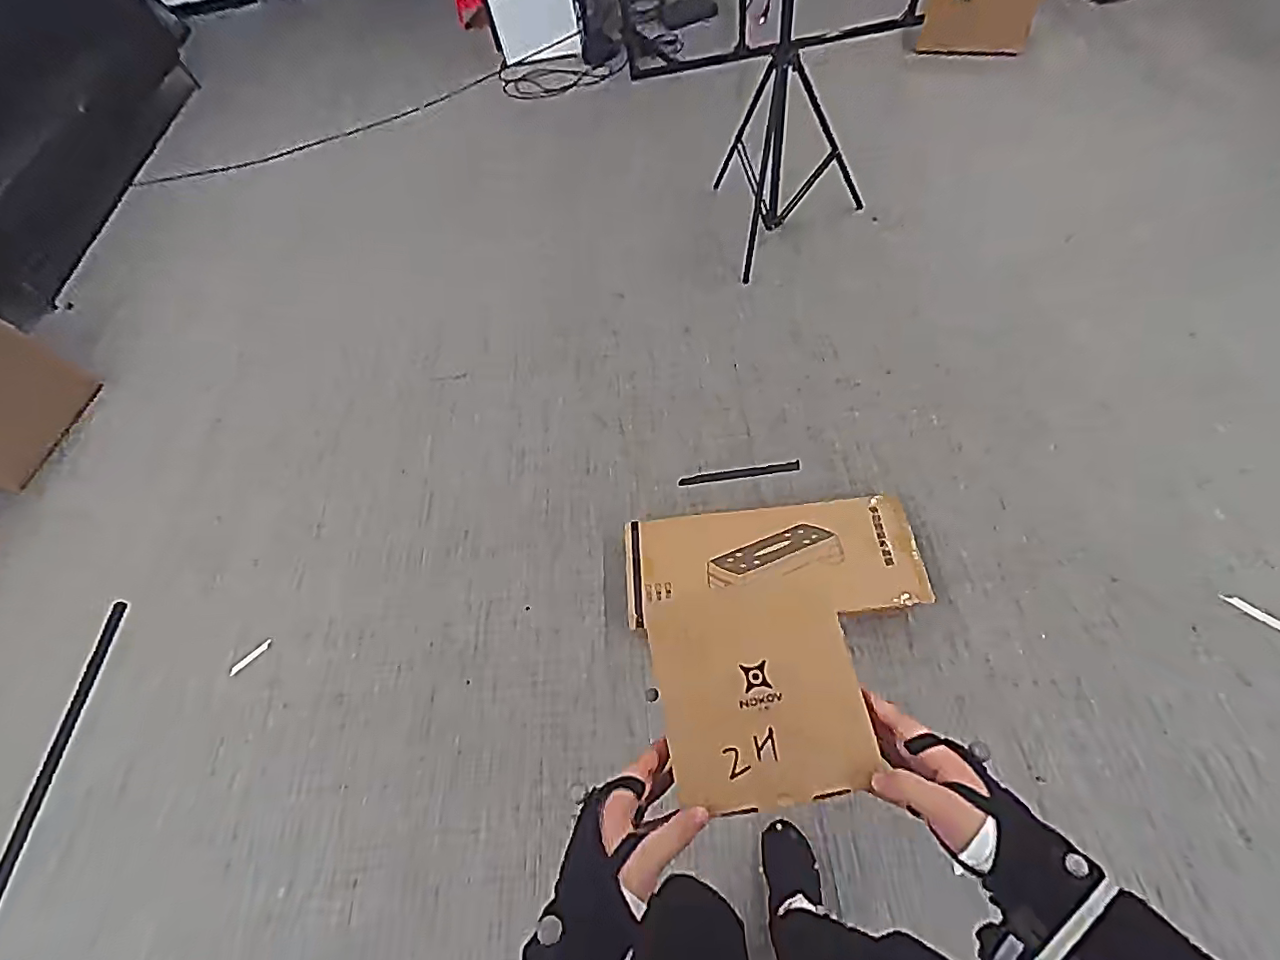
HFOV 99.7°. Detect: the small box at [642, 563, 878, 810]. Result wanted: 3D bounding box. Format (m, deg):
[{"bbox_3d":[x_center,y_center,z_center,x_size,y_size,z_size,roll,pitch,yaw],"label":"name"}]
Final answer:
[{"bbox_3d":[0.101,0.197,0.530,0.168,0.176,0.179,-12,69,2],"label":"small box"}]
